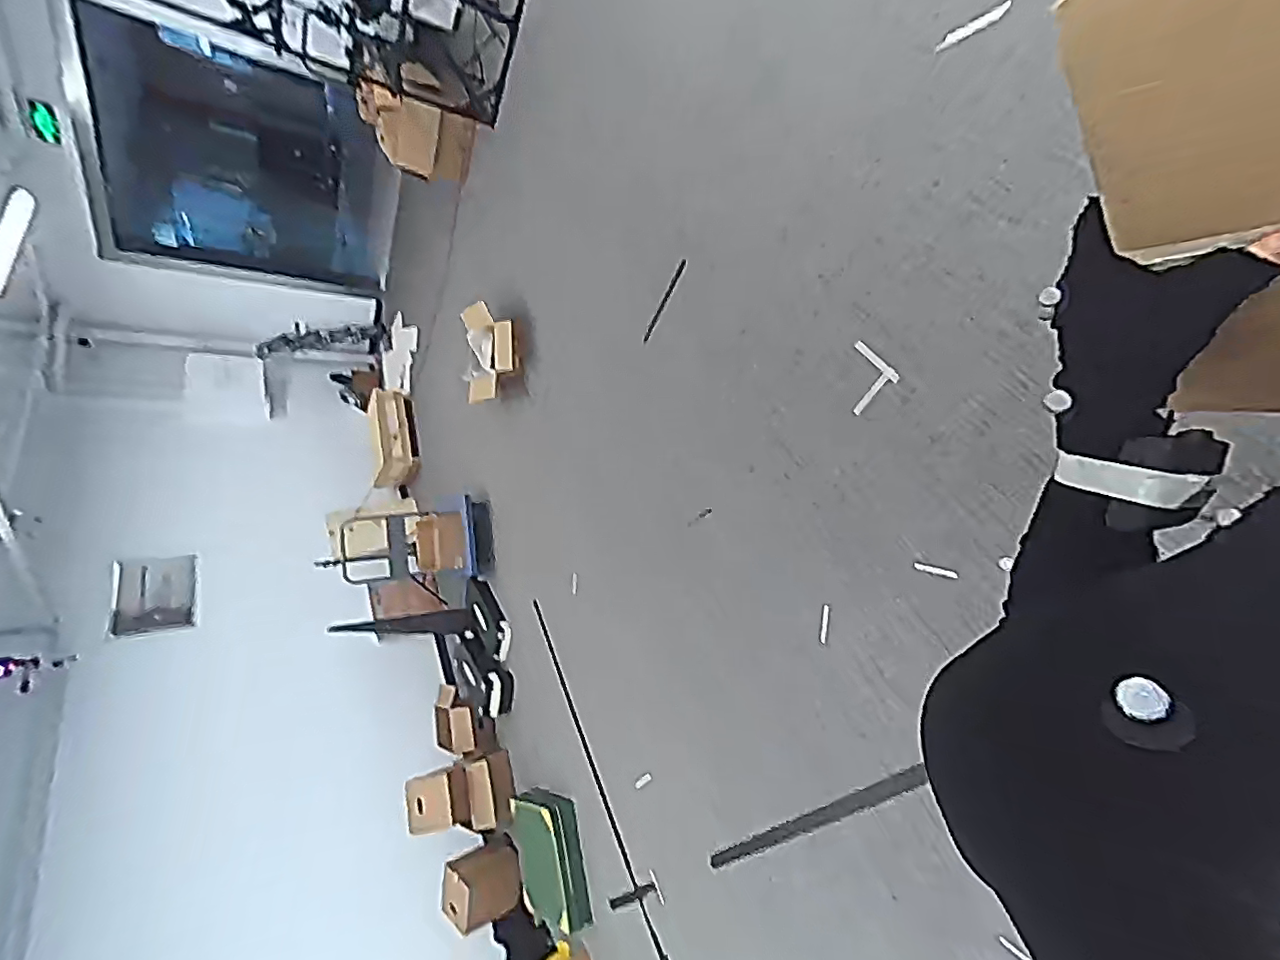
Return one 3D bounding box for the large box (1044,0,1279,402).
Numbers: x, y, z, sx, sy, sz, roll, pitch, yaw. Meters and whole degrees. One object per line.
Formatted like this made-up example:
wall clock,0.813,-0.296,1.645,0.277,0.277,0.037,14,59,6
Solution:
large box,0.468,-0.246,0.203,0.408,0.320,0.320,10,69,55
